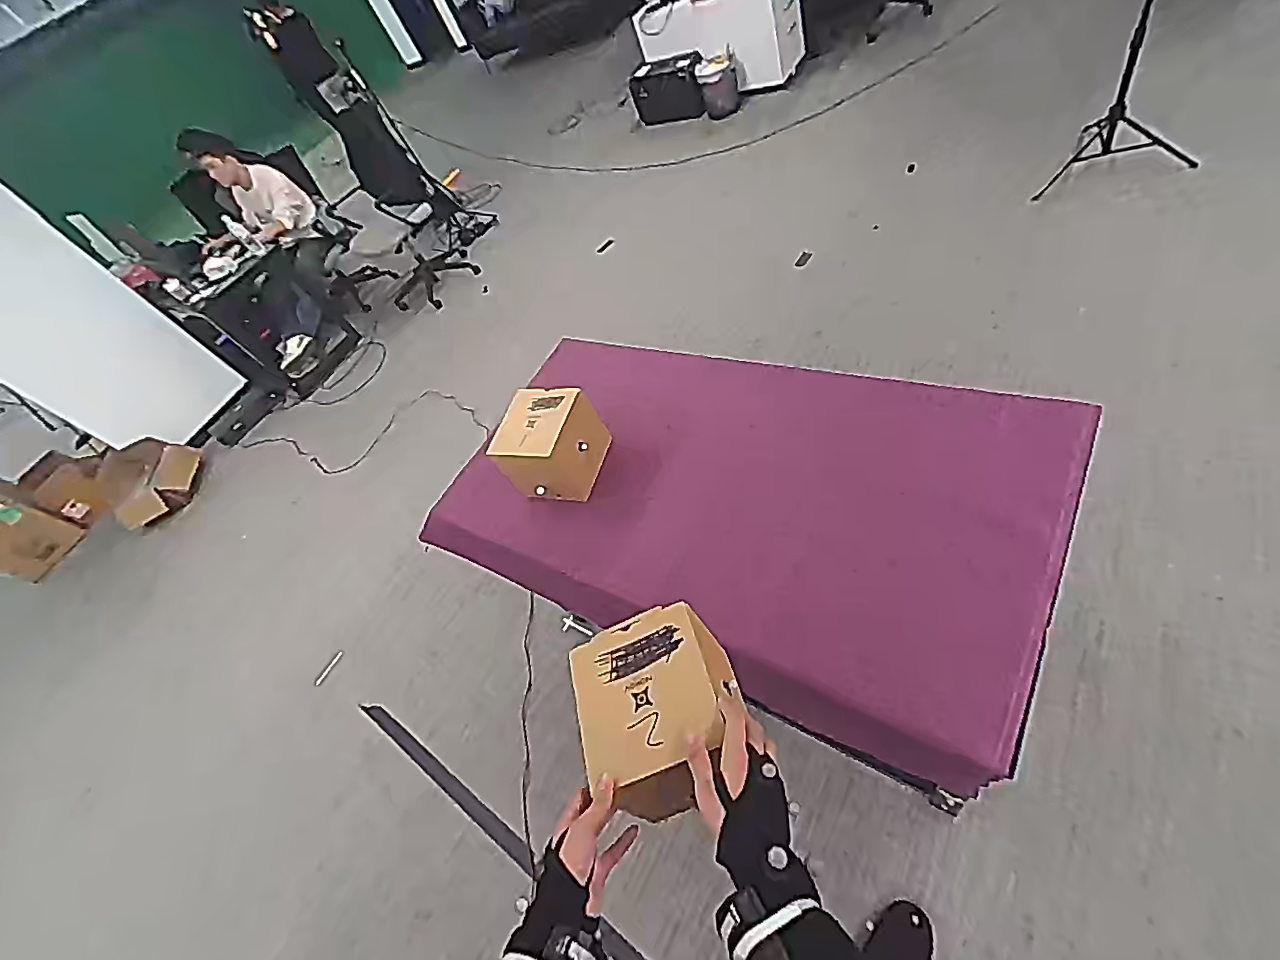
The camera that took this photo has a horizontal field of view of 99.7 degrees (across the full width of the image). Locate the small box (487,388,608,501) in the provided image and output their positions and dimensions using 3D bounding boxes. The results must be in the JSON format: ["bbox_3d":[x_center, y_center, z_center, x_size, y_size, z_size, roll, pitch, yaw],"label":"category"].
[{"bbox_3d":[-0.187,-0.076,1.160,0.168,0.176,0.179,3,59,28],"label":"small box"}]
